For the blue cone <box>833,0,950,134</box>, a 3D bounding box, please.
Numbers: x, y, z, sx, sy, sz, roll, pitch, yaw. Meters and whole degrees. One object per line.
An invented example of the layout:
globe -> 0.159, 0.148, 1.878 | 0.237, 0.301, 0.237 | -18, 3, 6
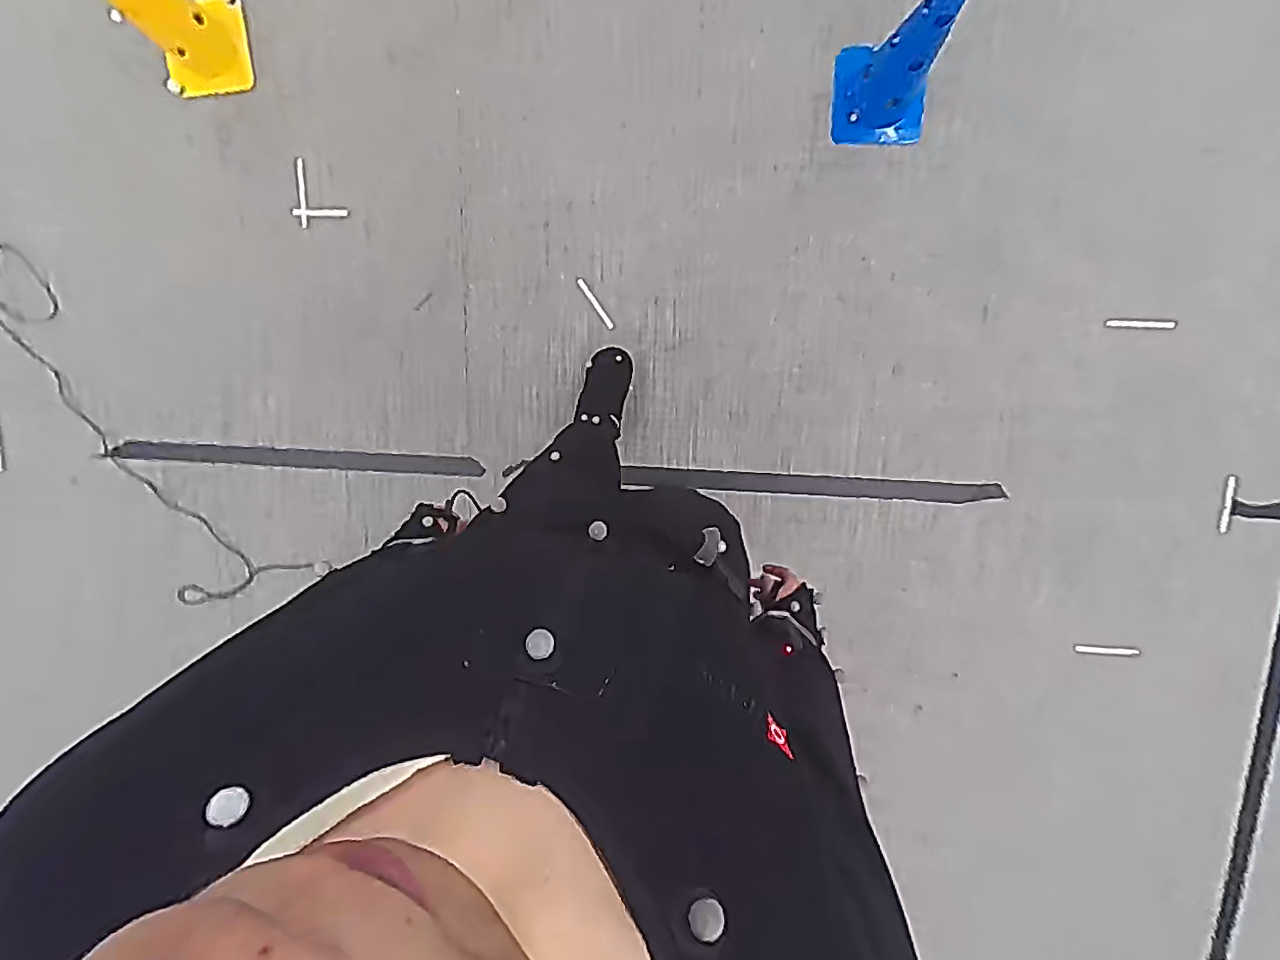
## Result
blue cone -> 0.515, -0.845, 1.030 | 0.193, 0.380, 0.192 | 3, 97, 2
